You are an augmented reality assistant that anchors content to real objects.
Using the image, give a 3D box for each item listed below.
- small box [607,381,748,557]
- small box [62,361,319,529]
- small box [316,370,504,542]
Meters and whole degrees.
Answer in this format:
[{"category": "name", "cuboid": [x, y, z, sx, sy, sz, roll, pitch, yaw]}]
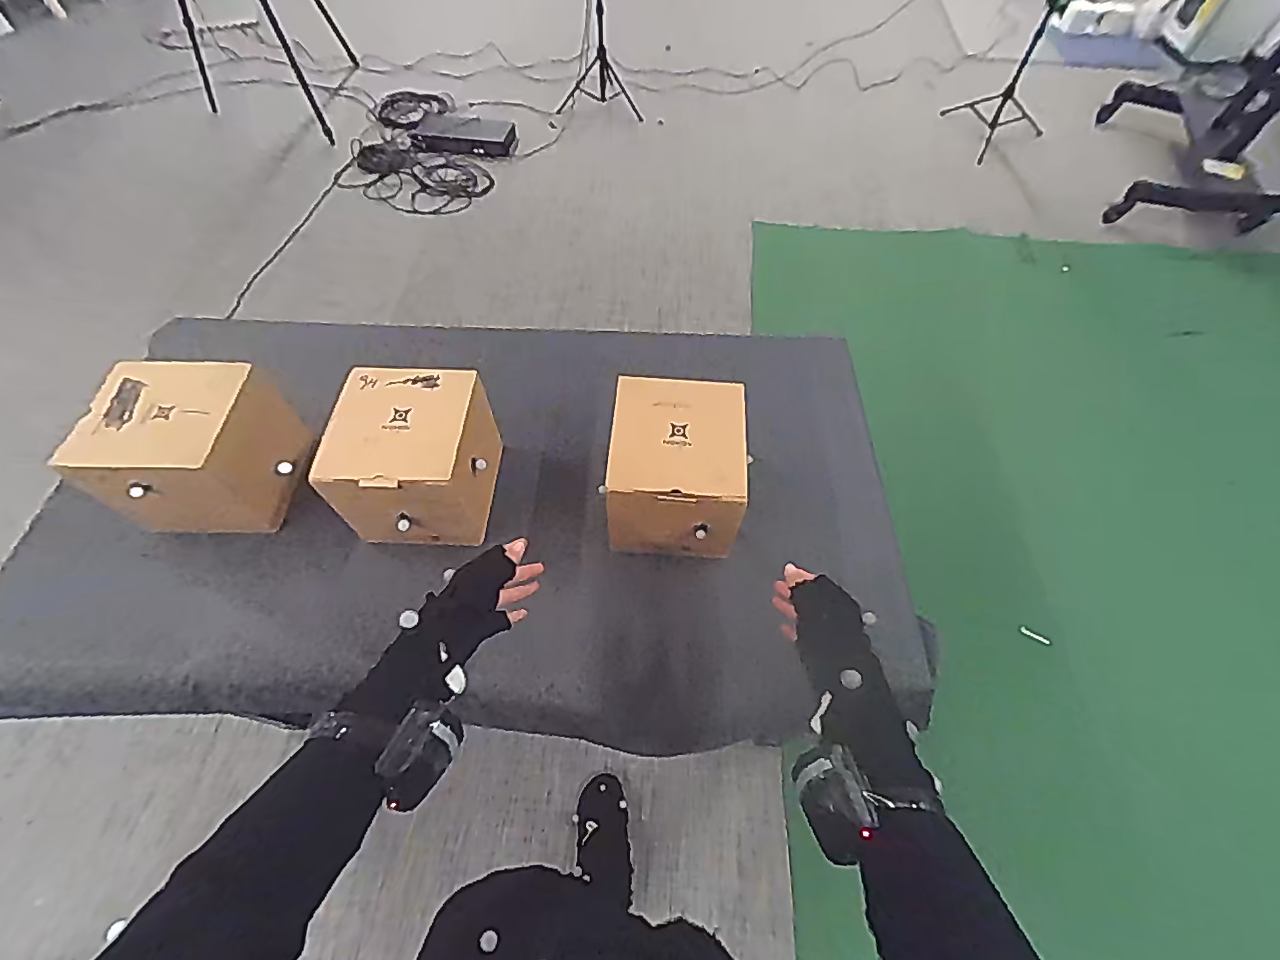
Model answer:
[{"category": "small box", "cuboid": [0.048, -0.009, 0.729, 0.168, 0.176, 0.179, 4, 57, 0]}, {"category": "small box", "cuboid": [-0.584, -0.041, 0.734, 0.179, 0.176, 0.168, 1, 59, -2]}, {"category": "small box", "cuboid": [-0.291, -0.027, 0.732, 0.168, 0.176, 0.179, 2, 59, 0]}]
